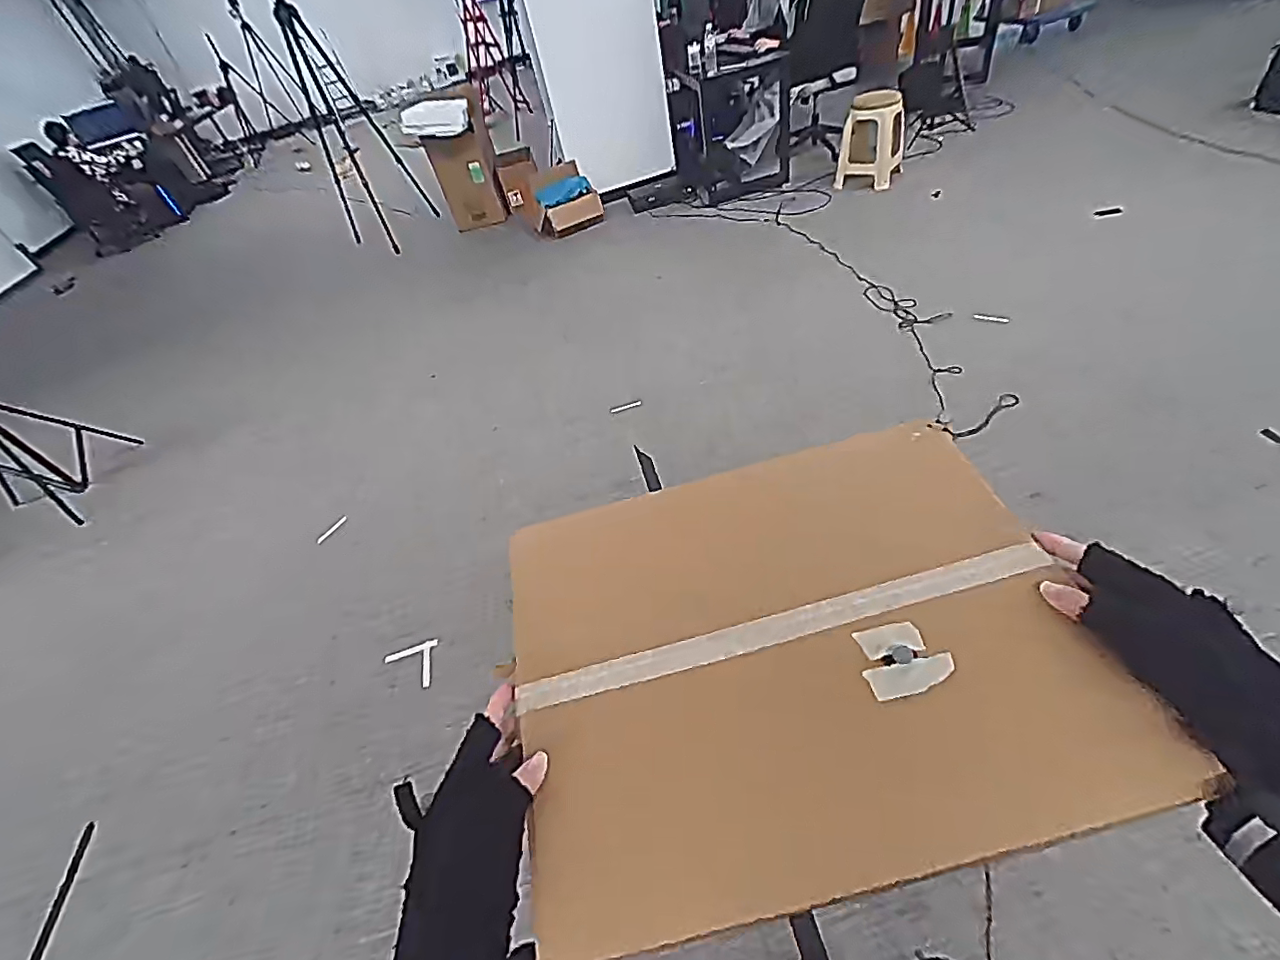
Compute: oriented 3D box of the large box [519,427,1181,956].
[{"bbox_3d":[0.131,0.207,0.531,0.408,0.320,0.320,-15,51,0],"label":"large box"}]
